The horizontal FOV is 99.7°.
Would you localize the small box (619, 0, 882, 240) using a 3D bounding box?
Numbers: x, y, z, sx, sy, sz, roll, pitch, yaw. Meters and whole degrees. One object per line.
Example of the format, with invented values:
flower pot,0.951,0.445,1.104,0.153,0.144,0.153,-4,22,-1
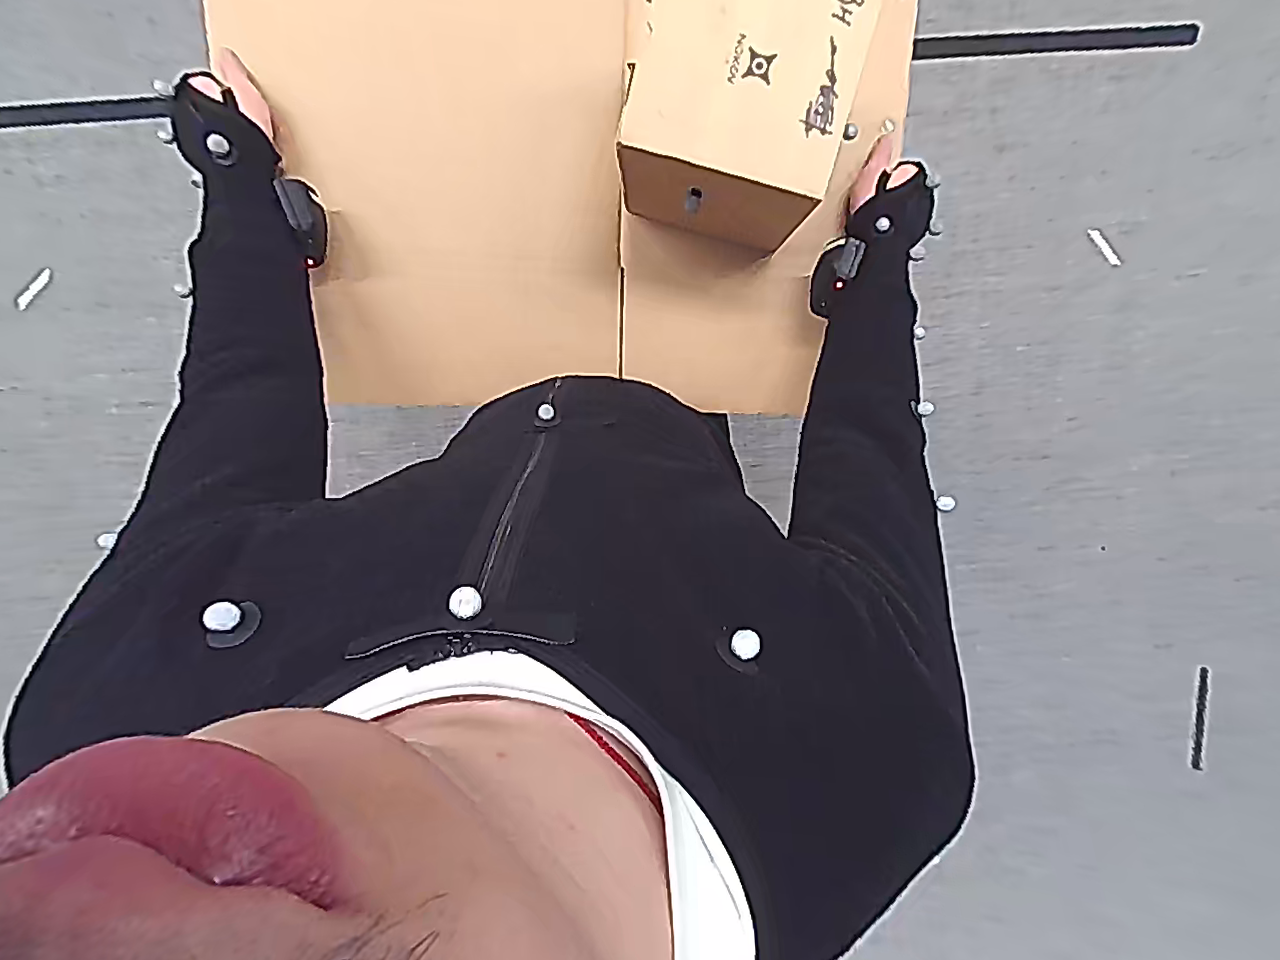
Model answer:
small box,0.090,-0.345,0.506,0.179,0.176,0.168,15,100,0
